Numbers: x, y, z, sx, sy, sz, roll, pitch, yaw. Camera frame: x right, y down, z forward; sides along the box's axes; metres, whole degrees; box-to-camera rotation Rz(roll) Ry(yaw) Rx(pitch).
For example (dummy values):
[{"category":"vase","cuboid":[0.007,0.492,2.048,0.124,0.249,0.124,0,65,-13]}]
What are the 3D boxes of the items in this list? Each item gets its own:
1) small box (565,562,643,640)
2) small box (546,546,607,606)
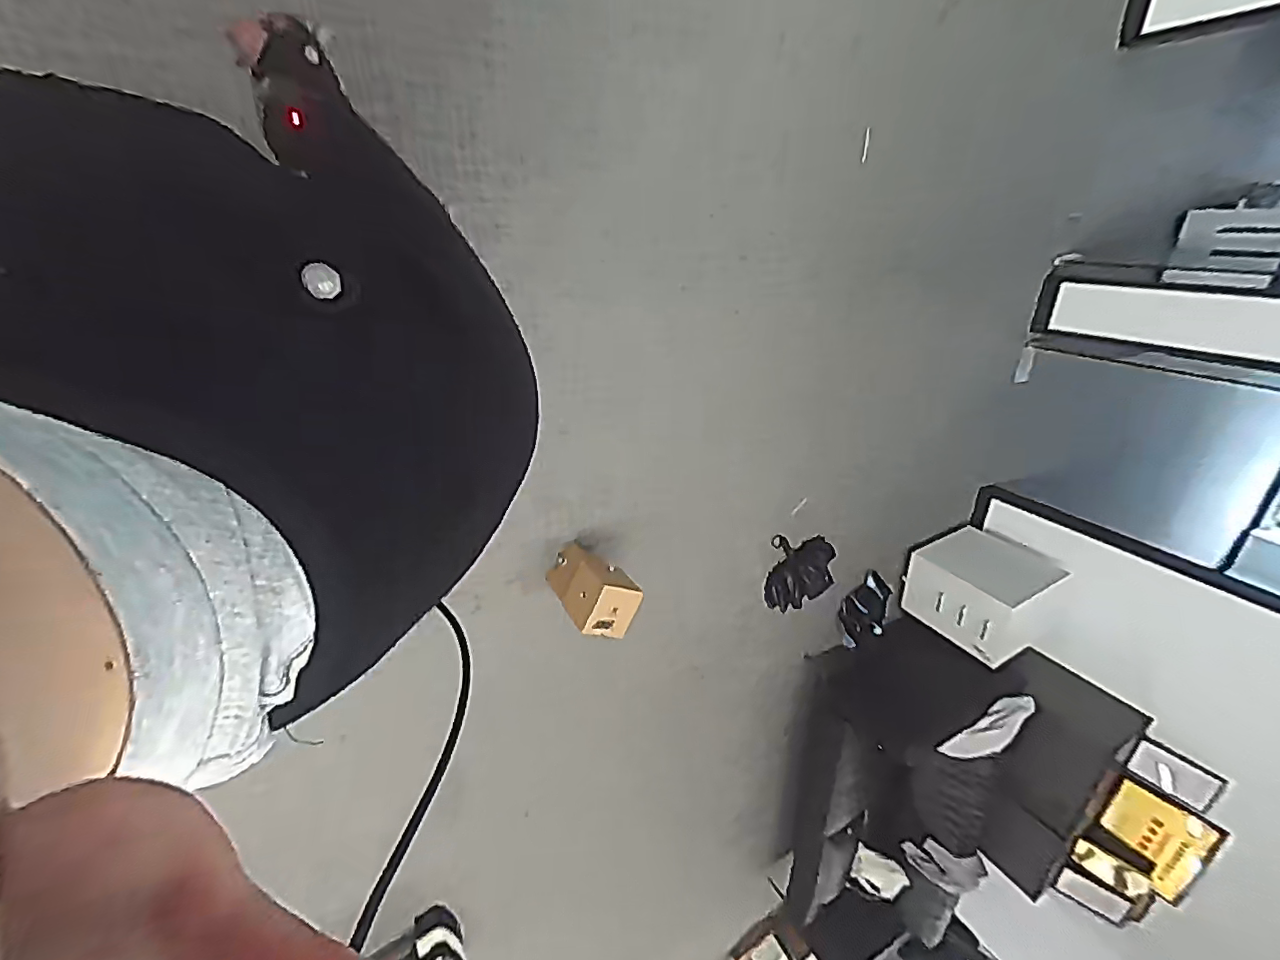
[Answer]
[{"category":"small box","cuboid":[-0.124,0.394,1.766,0.168,0.176,0.179,20,99,-37]},{"category":"small box","cuboid":[-0.200,0.357,1.910,0.179,0.176,0.168,35,90,-37]}]
